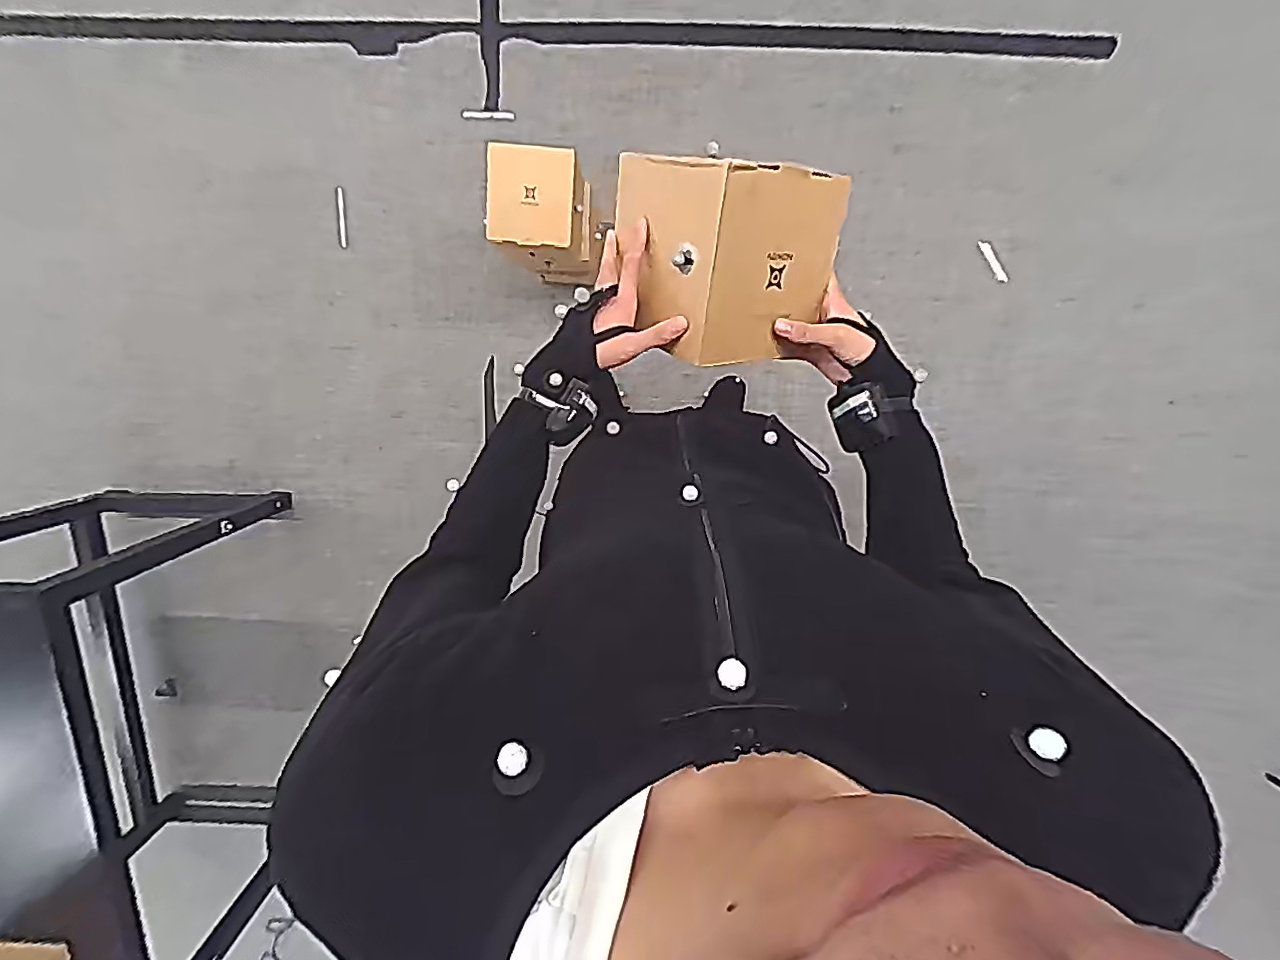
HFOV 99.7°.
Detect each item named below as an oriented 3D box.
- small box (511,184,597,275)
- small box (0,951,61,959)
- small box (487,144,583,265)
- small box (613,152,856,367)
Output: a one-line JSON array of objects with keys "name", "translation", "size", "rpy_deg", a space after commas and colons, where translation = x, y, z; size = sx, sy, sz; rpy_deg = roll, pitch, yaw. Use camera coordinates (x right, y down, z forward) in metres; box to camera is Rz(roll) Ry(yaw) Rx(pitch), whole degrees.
[{"name": "small box", "translation": [-0.196, -0.580, 1.262], "size": [0.179, 0.176, 0.168], "rpy_deg": [2, 103, -1]}, {"name": "small box", "translation": [-1.308, 1.089, 1.079], "size": [0.179, 0.176, 0.168], "rpy_deg": [0, 102, 0]}, {"name": "small box", "translation": [-0.208, -0.551, 1.102], "size": [0.168, 0.176, 0.179], "rpy_deg": [4, 103, -1]}, {"name": "small box", "translation": [0.086, -0.232, 0.564], "size": [0.168, 0.176, 0.179], "rpy_deg": [-14, 125, -33]}]
